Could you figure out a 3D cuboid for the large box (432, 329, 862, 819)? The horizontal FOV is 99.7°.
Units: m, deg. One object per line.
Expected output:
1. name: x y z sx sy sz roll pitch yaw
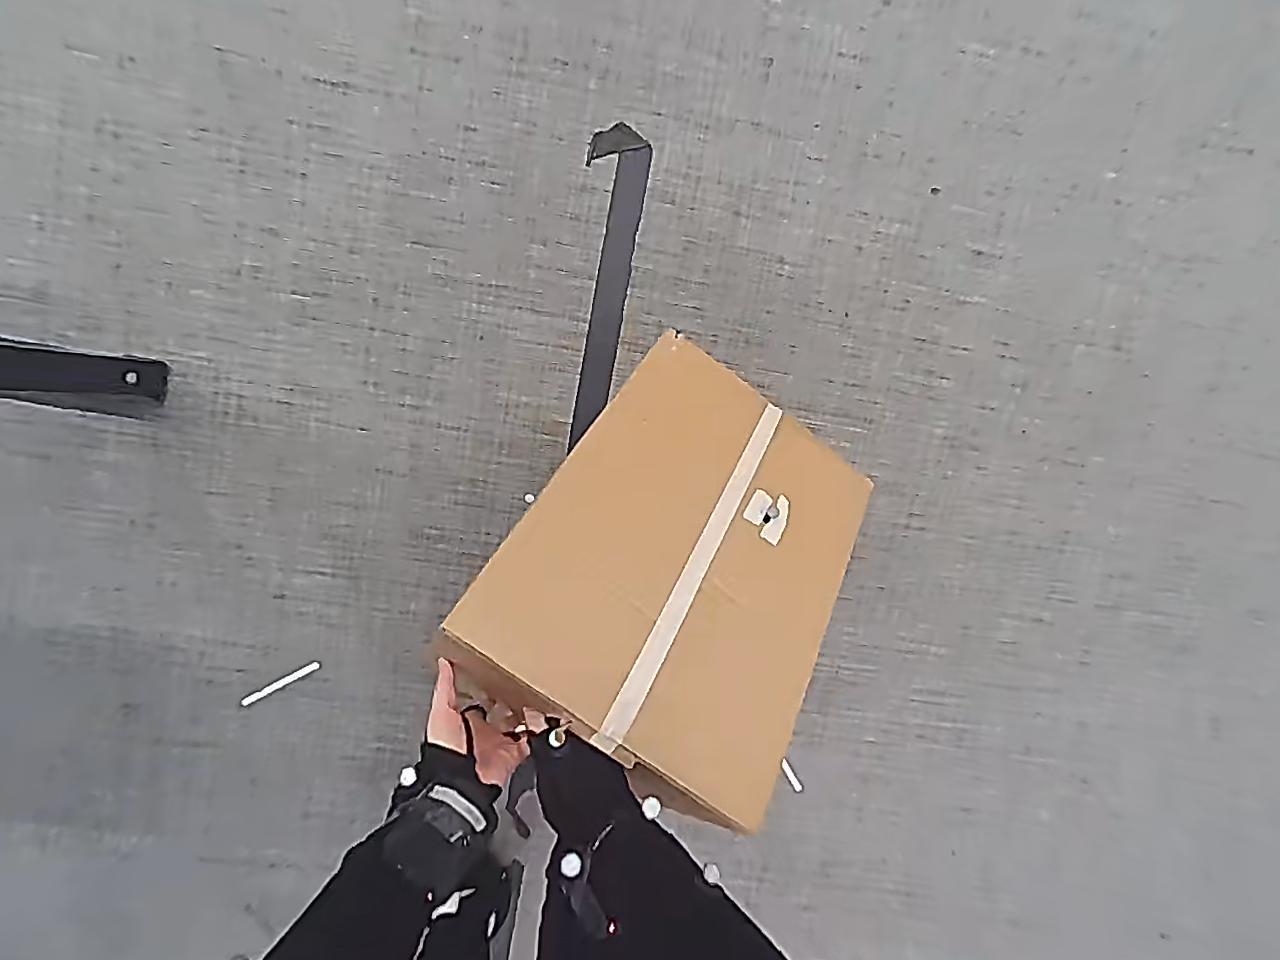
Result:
1. large box: 0.003 0.112 0.657 0.320 0.320 0.408 36 58 -6
